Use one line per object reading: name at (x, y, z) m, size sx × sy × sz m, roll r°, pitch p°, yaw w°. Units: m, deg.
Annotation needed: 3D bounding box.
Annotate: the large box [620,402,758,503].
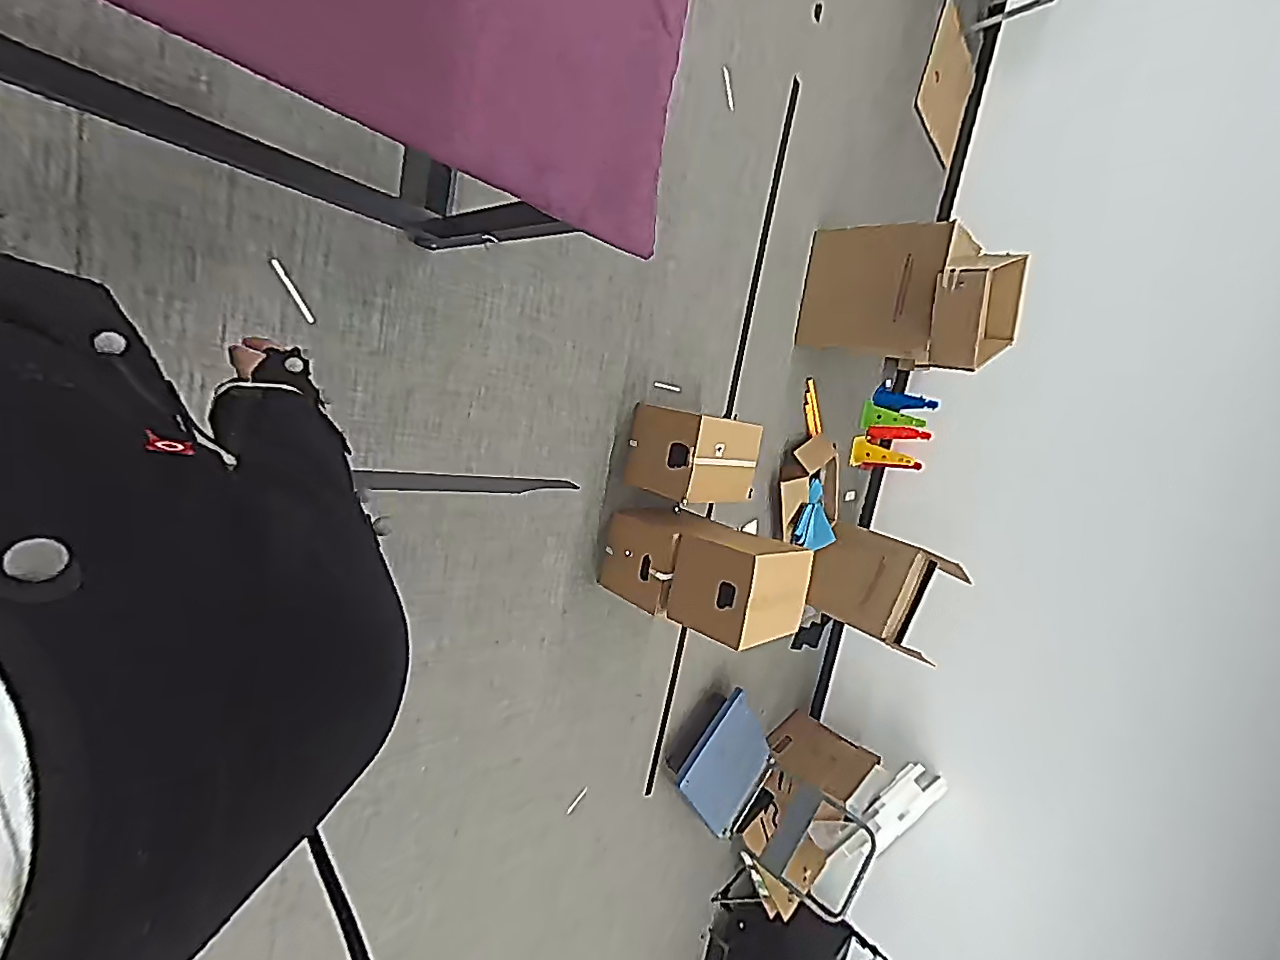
large box at (0.190, -0.107, 2.070) m, size 0.408 × 0.320 × 0.320 m, roll 1°, pitch 103°, yaw -47°
